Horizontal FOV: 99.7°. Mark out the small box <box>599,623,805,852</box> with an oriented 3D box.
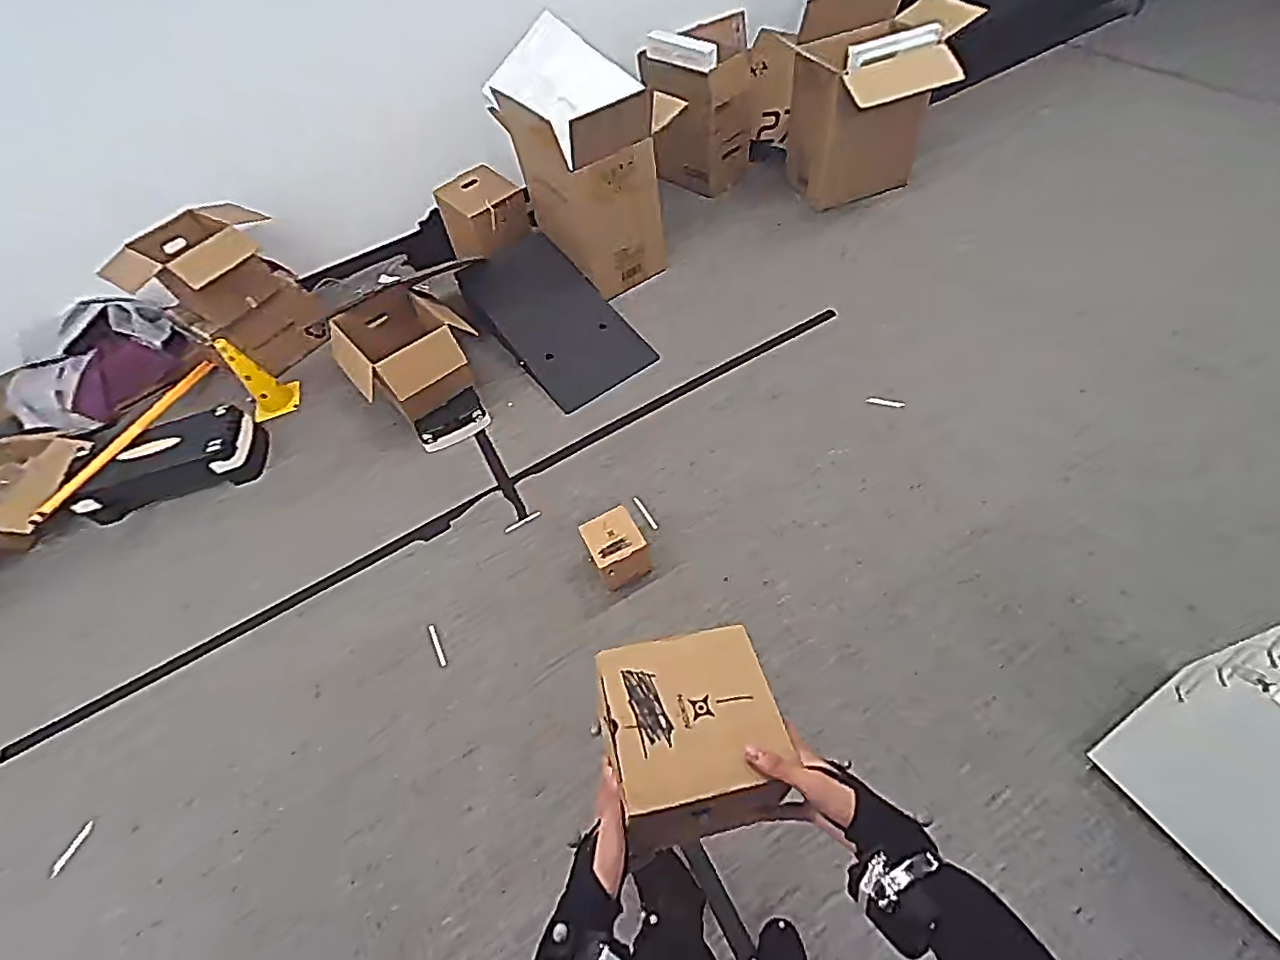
[{"bbox_3d":[0.054,0.288,0.604,0.179,0.176,0.168,-7,46,-11],"label":"small box"}]
